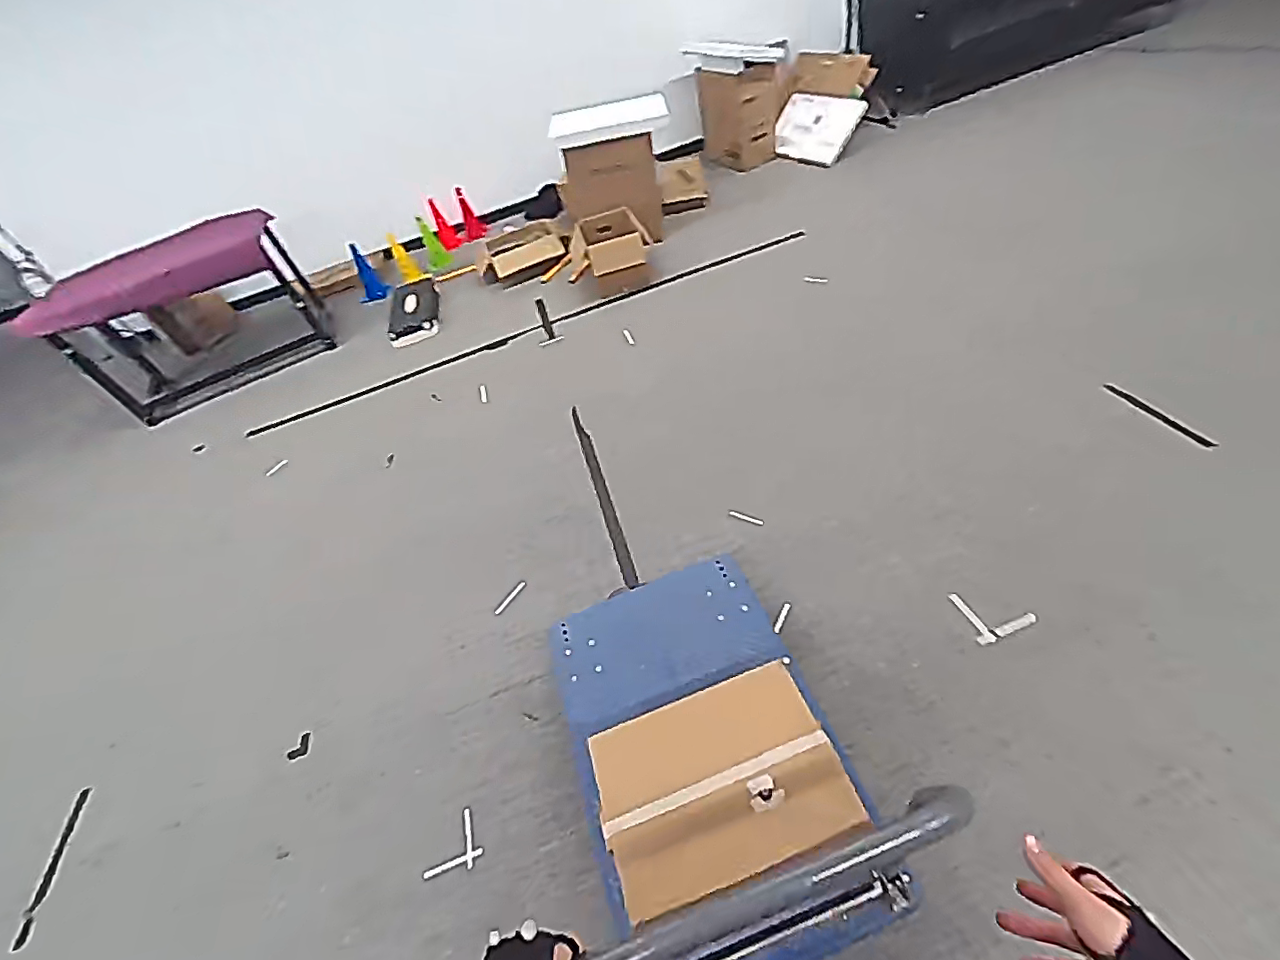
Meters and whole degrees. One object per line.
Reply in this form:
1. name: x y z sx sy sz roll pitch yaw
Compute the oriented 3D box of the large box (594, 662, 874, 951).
1. large box: 0.168 0.624 1.037 0.408 0.320 0.320 -20 46 -4
